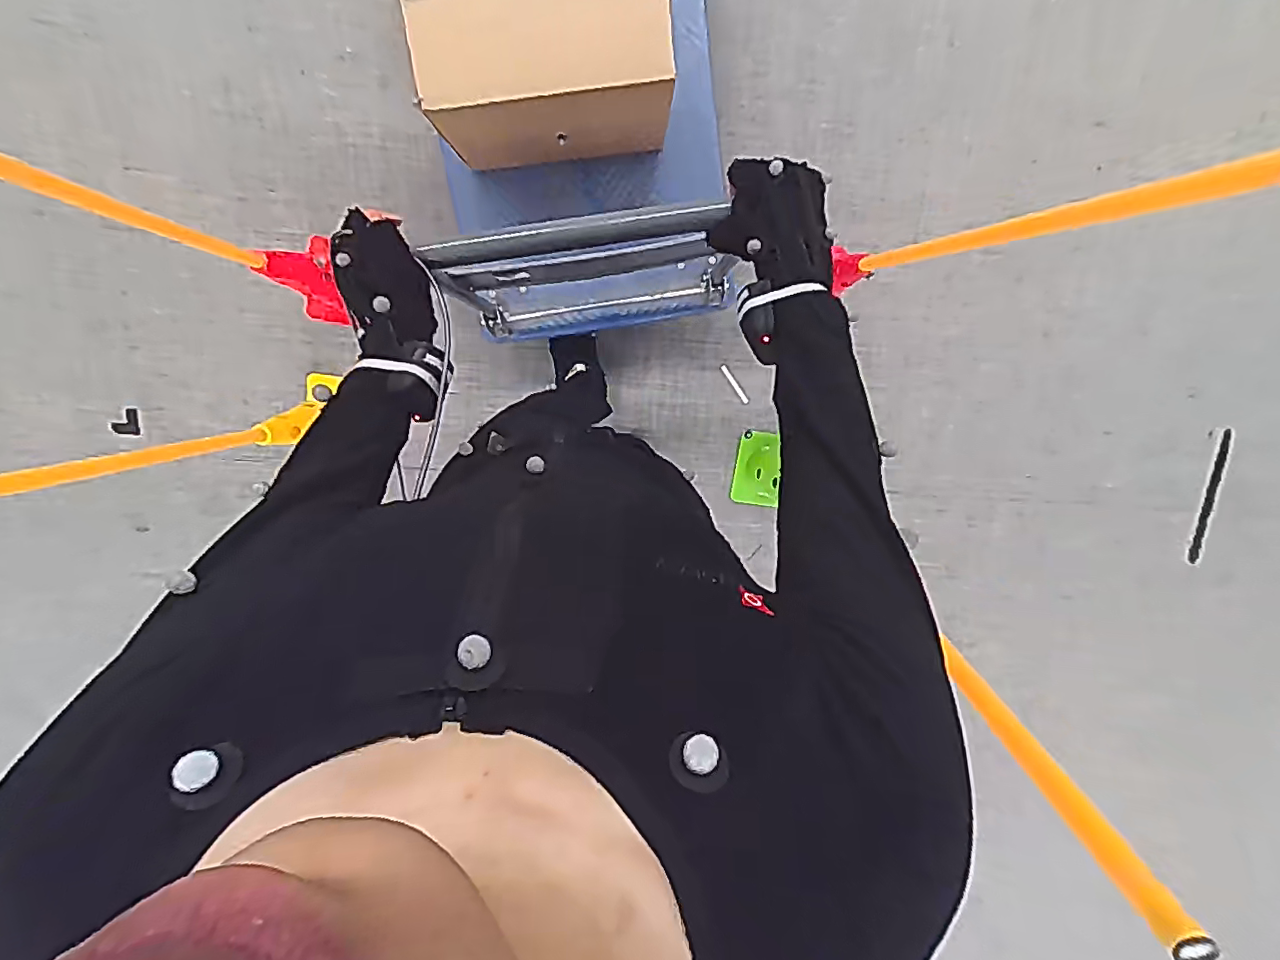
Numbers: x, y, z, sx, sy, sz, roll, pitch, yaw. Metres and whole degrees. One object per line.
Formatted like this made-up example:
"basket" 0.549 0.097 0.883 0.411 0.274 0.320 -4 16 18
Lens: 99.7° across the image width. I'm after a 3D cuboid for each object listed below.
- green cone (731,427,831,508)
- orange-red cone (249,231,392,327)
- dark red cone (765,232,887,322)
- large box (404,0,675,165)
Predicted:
"green cone" 0.366 0.002 1.306 0.202 0.368 0.200 7 103 -5
"orange-red cone" -0.711 -0.457 1.164 0.198 0.360 0.199 11 101 -5
"dark red cone" 0.423 -0.464 1.181 0.201 0.394 0.202 3 103 -5
"large box" -0.163 -0.792 0.953 0.408 0.320 0.320 -7 104 1
